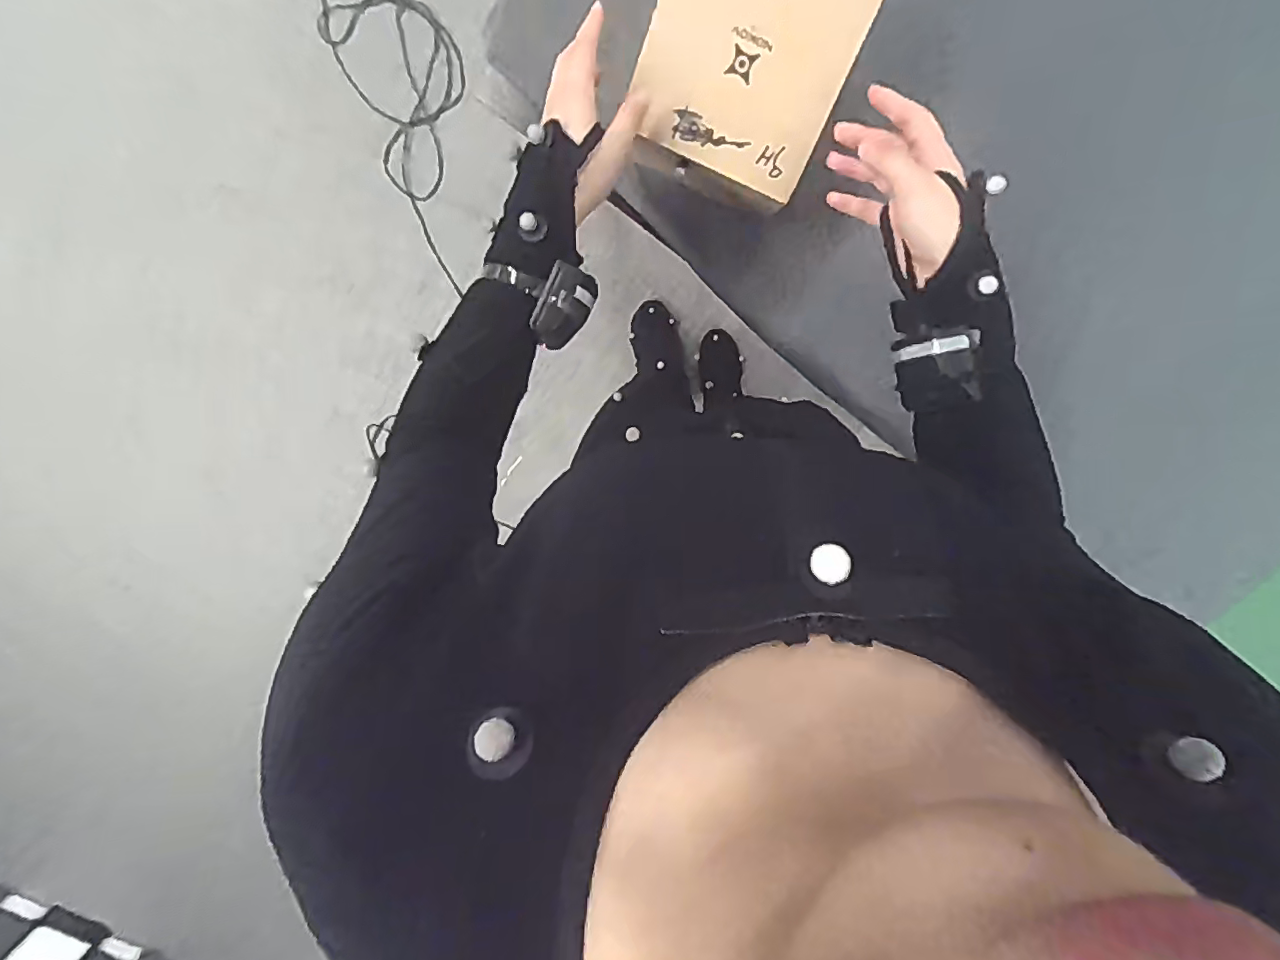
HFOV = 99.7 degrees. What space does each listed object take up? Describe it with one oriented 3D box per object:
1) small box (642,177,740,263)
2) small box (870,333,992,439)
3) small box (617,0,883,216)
[{"bbox_3d":[0.126,-0.607,1.207,0.168,0.176,0.179,39,109,-10],"label":"small box"},{"bbox_3d":[0.684,-0.232,1.304,0.168,0.176,0.179,31,110,-8],"label":"small box"},{"bbox_3d":[0.091,-0.376,0.514,0.168,0.176,0.179,23,112,-5],"label":"small box"}]
